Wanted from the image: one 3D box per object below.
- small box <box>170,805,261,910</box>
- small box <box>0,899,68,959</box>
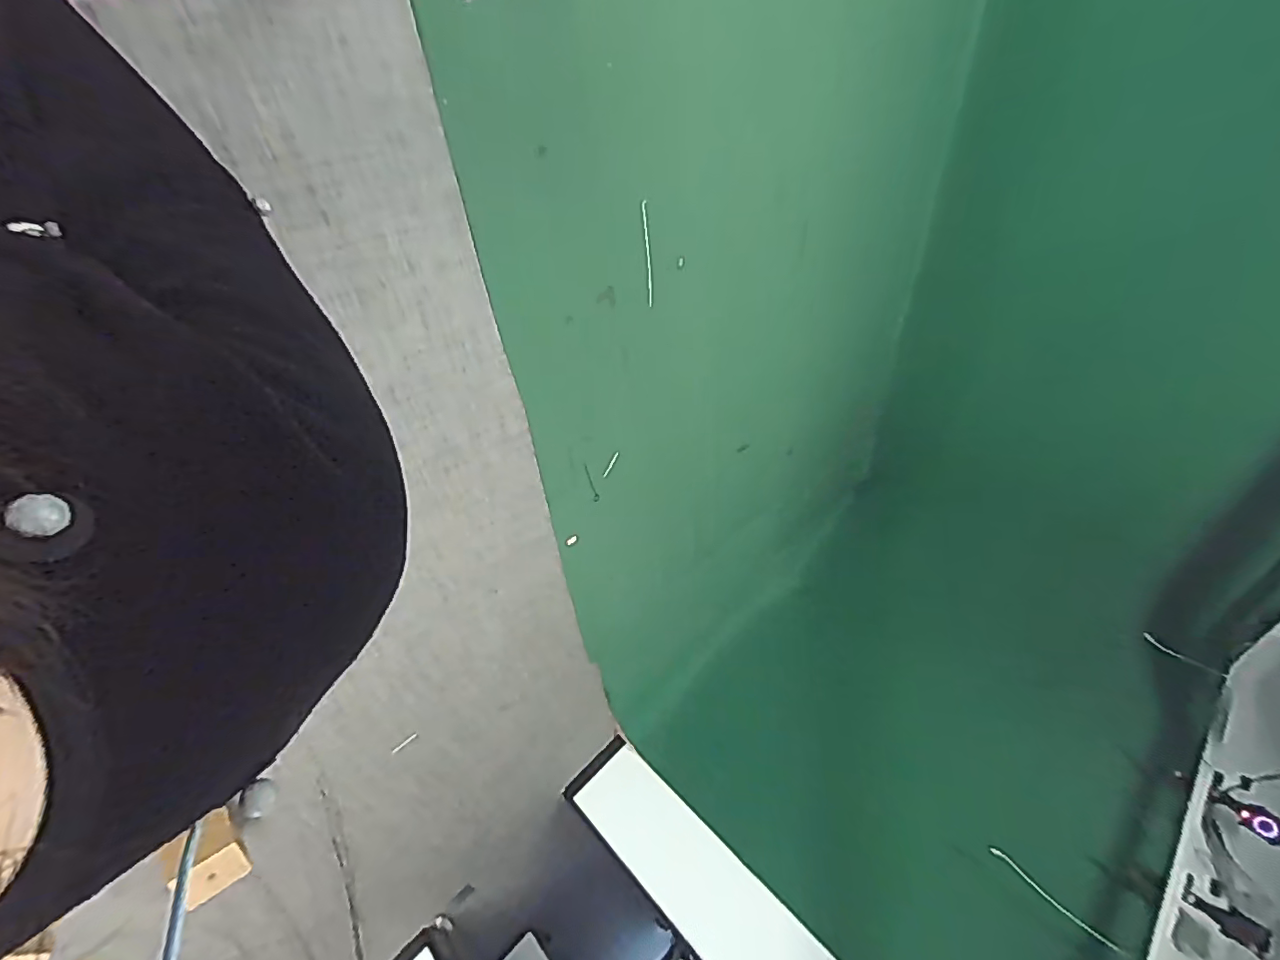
[{"bbox_3d":[-1.298,1.147,1.656,0.168,0.176,0.179,-25,132,-38],"label":"small box"},{"bbox_3d":[-1.590,1.180,1.338,0.168,0.176,0.179,-49,142,-15],"label":"small box"}]
